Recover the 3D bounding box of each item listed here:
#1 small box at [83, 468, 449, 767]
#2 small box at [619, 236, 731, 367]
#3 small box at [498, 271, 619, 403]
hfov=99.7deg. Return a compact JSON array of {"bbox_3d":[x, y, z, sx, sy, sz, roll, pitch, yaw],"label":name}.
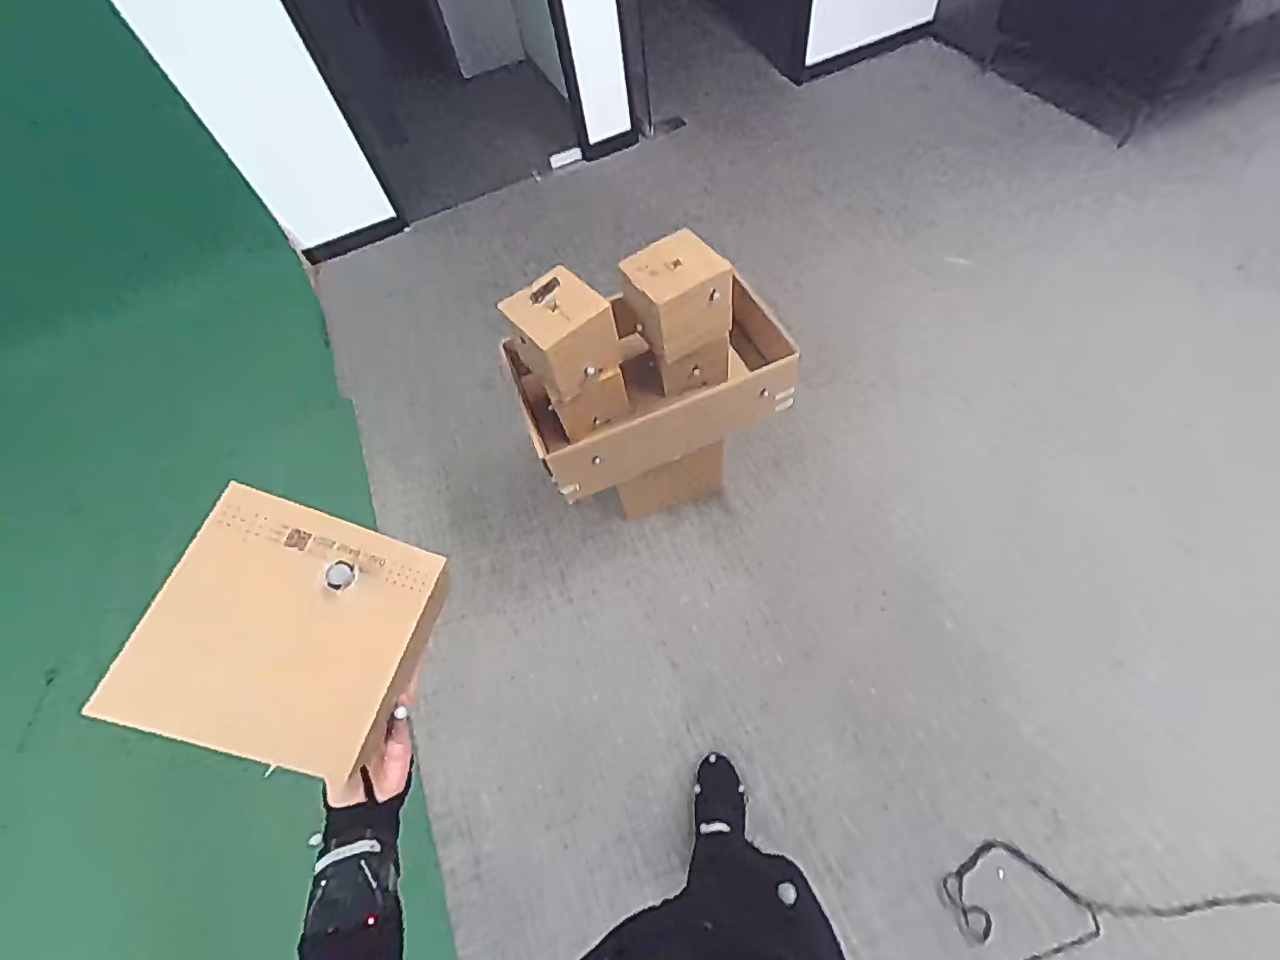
[{"bbox_3d":[-0.272,0.113,0.452,0.168,0.179,0.176,22,66,-12],"label":"small box"},{"bbox_3d":[0.076,-0.377,1.154,0.179,0.176,0.168,-30,58,-10],"label":"small box"},{"bbox_3d":[-0.165,-0.297,1.139,0.168,0.176,0.179,-38,63,-14],"label":"small box"}]
